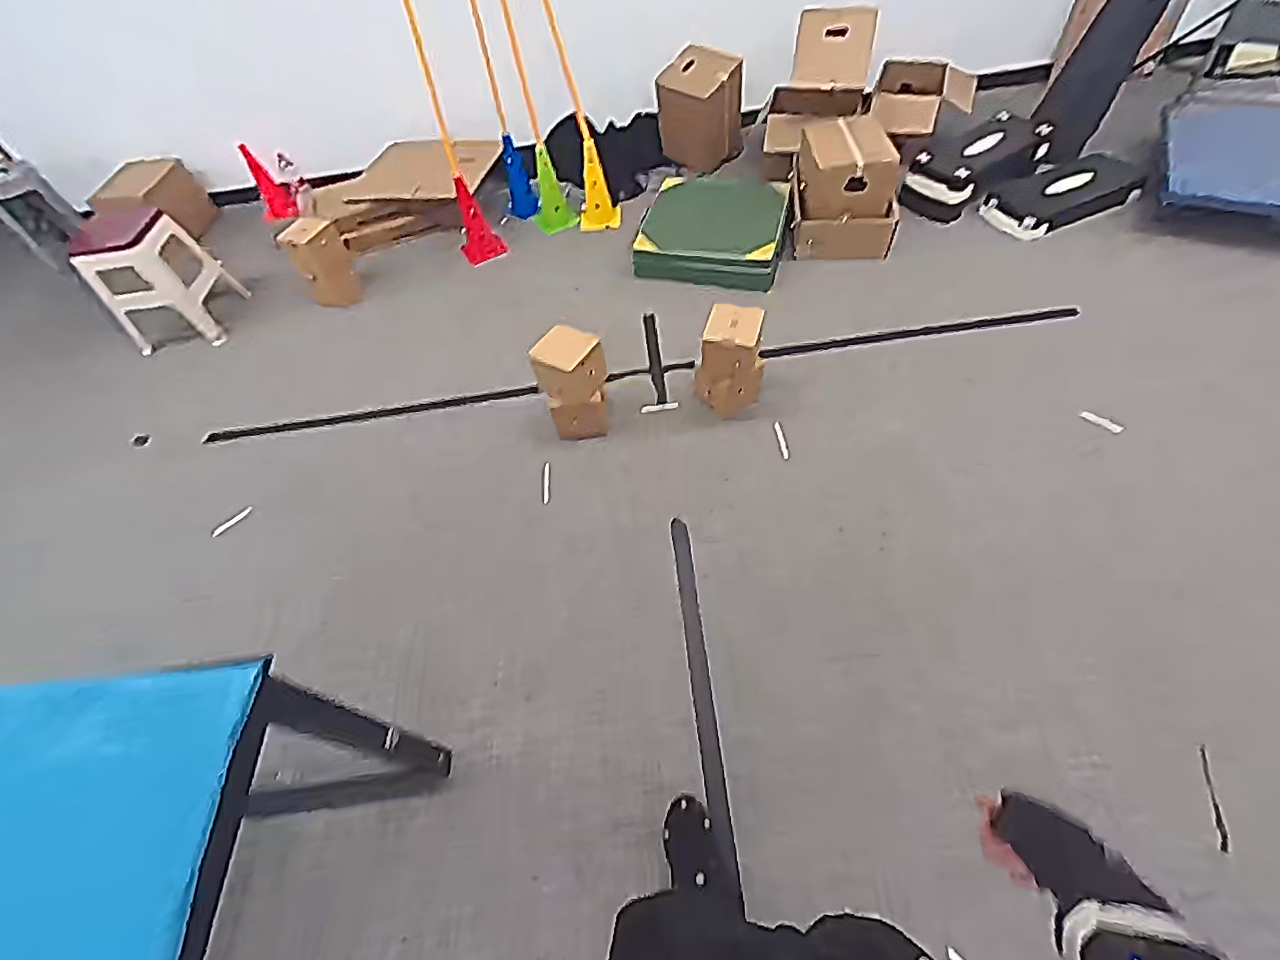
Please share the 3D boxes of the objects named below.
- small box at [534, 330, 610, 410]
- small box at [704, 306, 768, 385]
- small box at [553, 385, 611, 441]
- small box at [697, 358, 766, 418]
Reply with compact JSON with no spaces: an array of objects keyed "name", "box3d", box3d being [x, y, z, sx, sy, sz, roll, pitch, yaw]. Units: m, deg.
[{"name":"small box","box3d":[-0.220,-0.362,1.764,0.179,0.176,0.168,21,60,19]},{"name":"small box","box3d":[0.309,-0.433,1.750,0.168,0.176,0.179,13,57,13]},{"name":"small box","box3d":[-0.198,-0.256,1.893,0.179,0.176,0.168,-7,54,4]},{"name":"small box","box3d":[0.319,-0.348,1.892,0.179,0.176,0.168,-35,58,-18]}]
